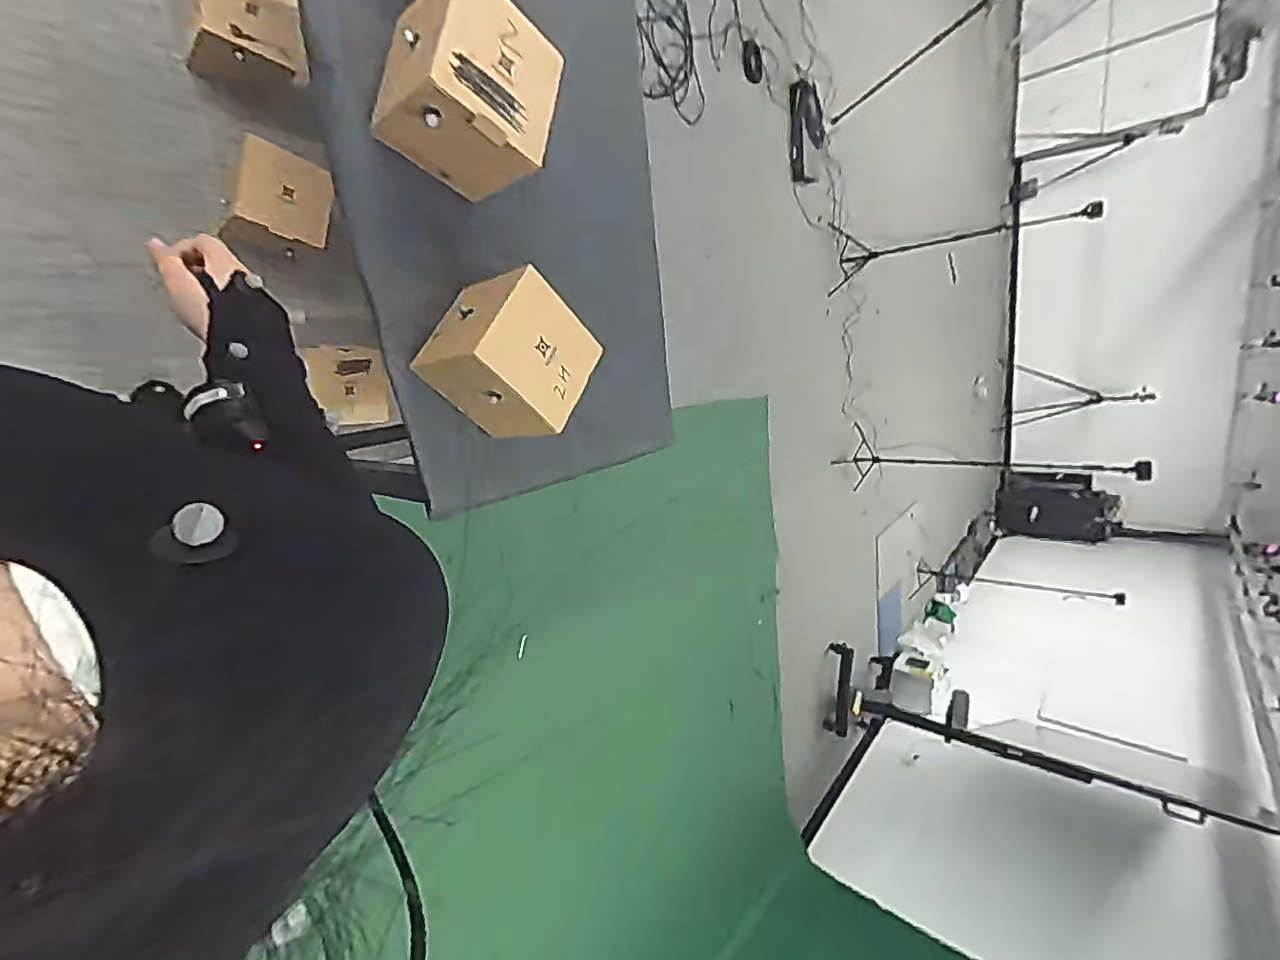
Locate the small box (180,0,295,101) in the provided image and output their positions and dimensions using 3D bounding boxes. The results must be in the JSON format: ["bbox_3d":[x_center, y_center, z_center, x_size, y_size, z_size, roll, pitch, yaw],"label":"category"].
[{"bbox_3d":[-0.835,-0.943,1.122,0.168,0.176,0.179,-2,94,-48],"label":"small box"}]

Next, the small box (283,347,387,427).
[{"bbox_3d":[-0.733,-0.219,1.298,0.168,0.176,0.179,-12,103,-46],"label":"small box"}]

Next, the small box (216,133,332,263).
[{"bbox_3d":[-0.805,-0.603,1.186,0.168,0.176,0.179,10,85,-49],"label":"small box"}]

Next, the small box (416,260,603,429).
[{"bbox_3d":[-0.194,-0.186,0.805,0.179,0.176,0.168,45,59,-41],"label":"small box"}]
